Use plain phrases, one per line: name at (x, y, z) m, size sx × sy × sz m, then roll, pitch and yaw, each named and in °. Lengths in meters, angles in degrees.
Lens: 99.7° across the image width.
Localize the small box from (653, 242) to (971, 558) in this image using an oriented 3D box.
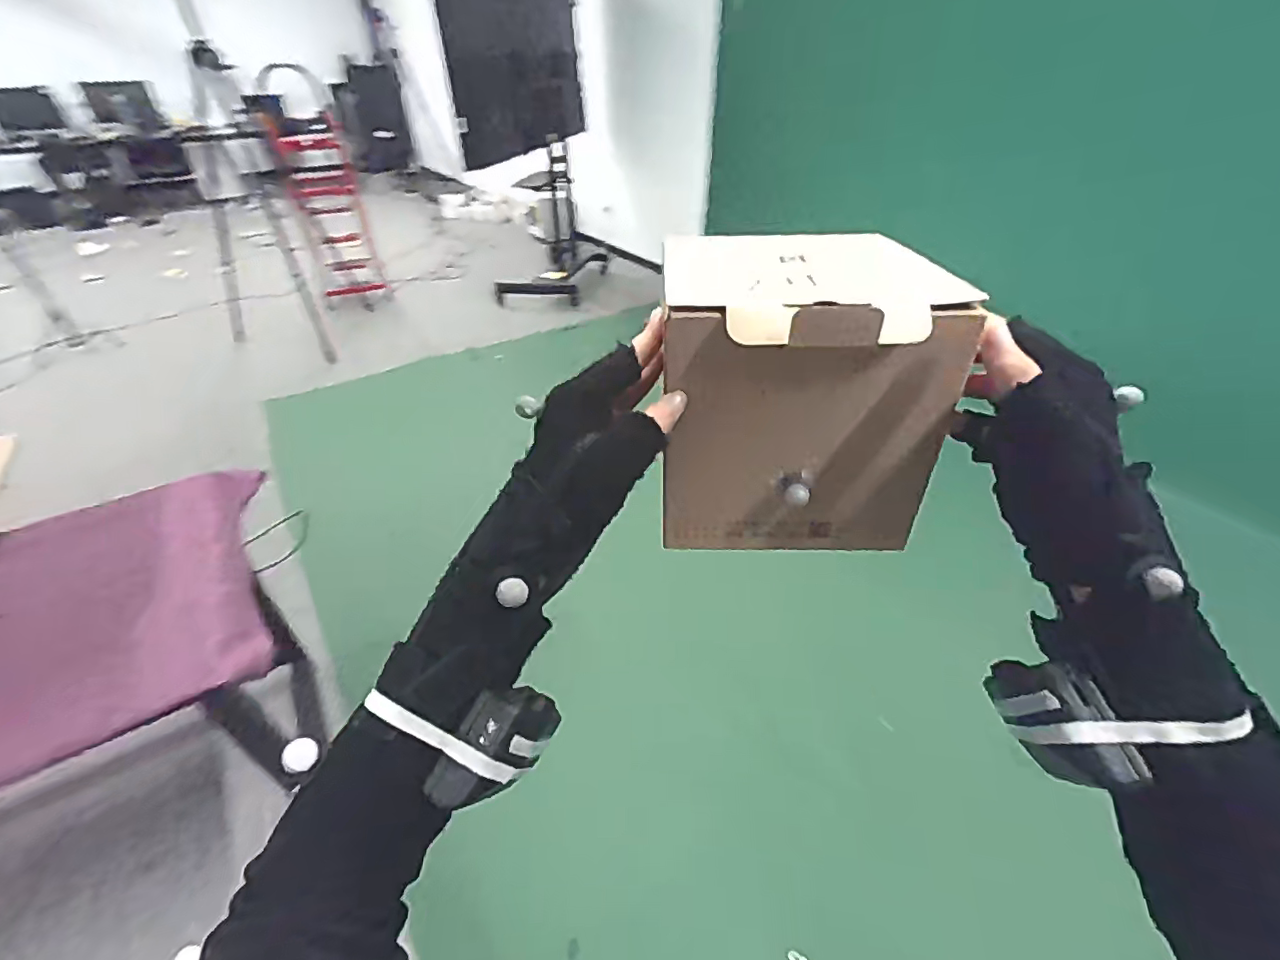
small box at (0.093, -0.064, 0.394) m, size 0.168 × 0.176 × 0.179 m, roll -1°, pitch 37°, yaw 2°
